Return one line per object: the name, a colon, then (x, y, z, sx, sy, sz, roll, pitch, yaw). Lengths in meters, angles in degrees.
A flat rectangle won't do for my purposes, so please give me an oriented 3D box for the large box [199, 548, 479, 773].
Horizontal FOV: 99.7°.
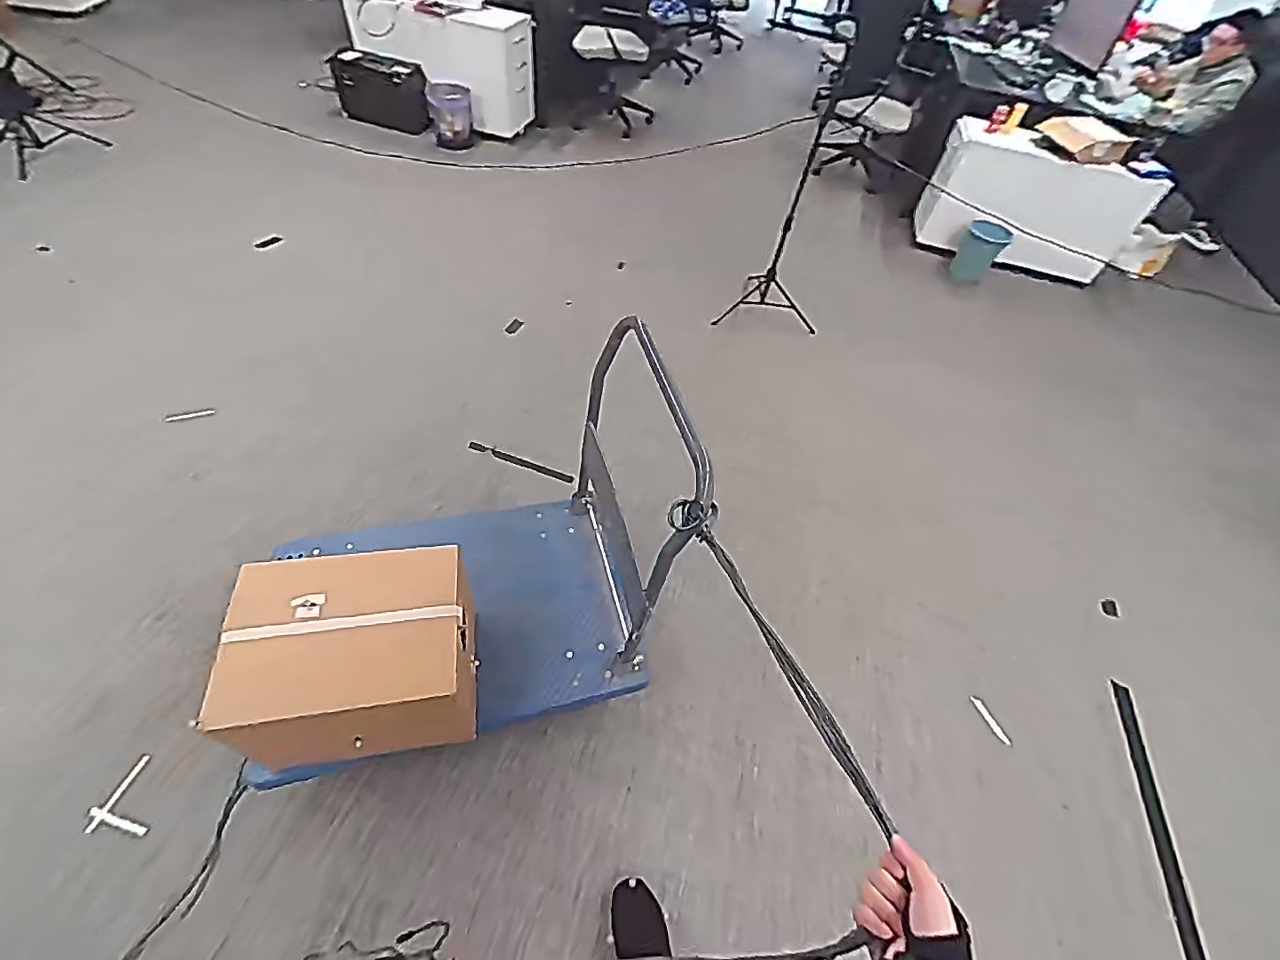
large box: (-0.558, 0.369, 1.107, 0.408, 0.320, 0.320, -5, 51, -12)
